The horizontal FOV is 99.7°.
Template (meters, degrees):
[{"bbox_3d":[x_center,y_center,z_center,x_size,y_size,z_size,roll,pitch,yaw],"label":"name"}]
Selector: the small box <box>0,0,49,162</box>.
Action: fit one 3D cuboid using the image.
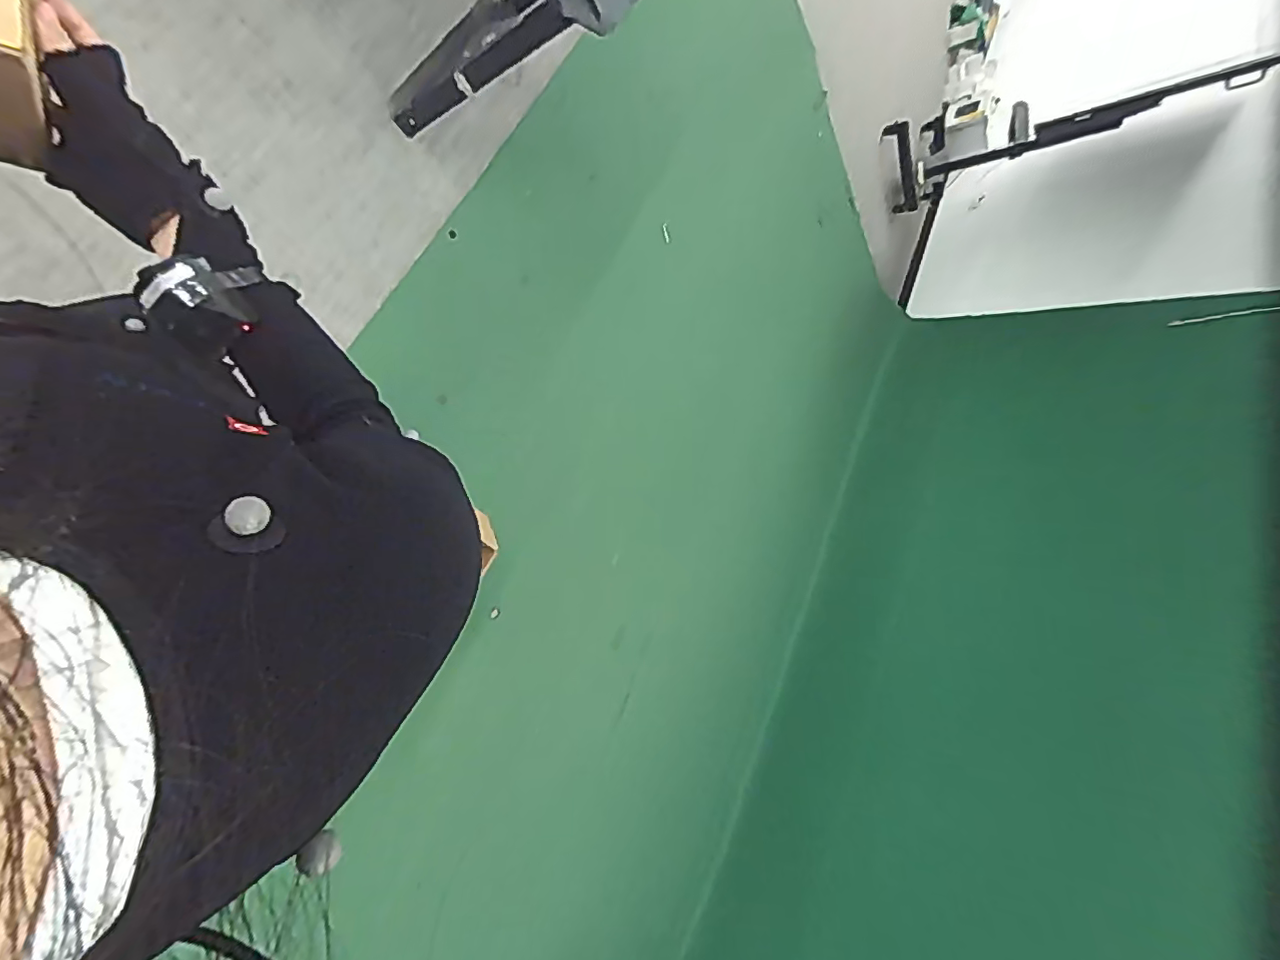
[{"bbox_3d":[-0.460,-0.320,0.300,0.168,0.176,0.179,-4,96,-44],"label":"small box"}]
